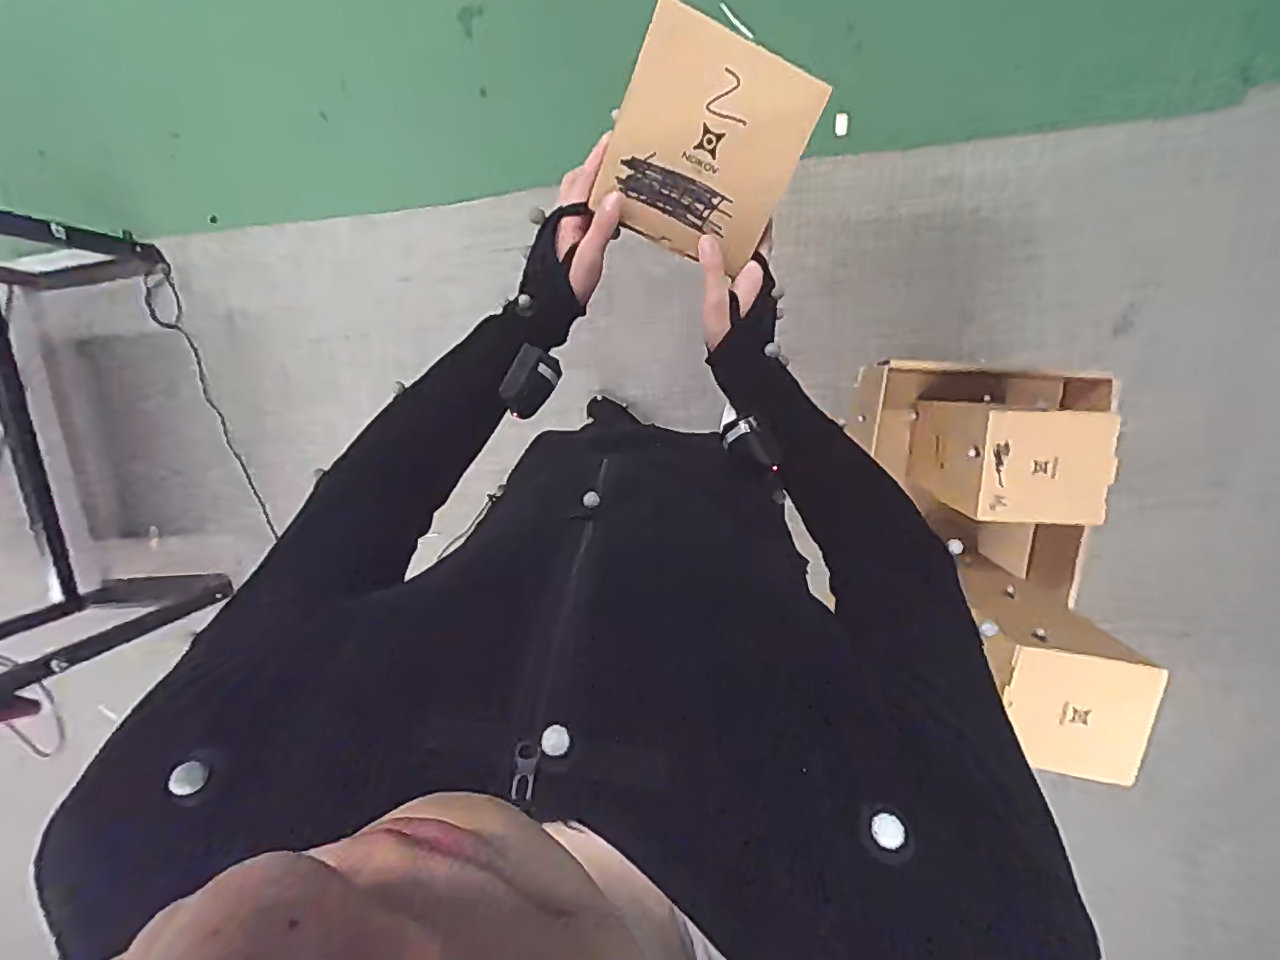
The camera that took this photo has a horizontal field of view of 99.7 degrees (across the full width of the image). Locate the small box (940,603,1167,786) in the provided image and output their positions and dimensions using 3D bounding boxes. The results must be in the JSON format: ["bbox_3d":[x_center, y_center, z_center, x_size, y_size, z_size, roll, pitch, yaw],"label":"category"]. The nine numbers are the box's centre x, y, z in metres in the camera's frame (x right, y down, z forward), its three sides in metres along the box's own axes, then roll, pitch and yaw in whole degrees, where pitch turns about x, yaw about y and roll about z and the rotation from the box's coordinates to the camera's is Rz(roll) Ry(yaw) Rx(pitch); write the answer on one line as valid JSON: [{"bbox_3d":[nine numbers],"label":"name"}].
[{"bbox_3d":[0.563,0.288,0.765,0.179,0.176,0.168,8,100,6],"label":"small box"}]

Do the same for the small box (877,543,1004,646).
[{"bbox_3d":[0.603,0.235,1.083,0.179,0.176,0.168,9,100,6],"label":"small box"}]

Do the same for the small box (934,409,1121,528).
[{"bbox_3d":[0.604,-0.027,0.867,0.179,0.176,0.168,2,100,7],"label":"small box"}]
